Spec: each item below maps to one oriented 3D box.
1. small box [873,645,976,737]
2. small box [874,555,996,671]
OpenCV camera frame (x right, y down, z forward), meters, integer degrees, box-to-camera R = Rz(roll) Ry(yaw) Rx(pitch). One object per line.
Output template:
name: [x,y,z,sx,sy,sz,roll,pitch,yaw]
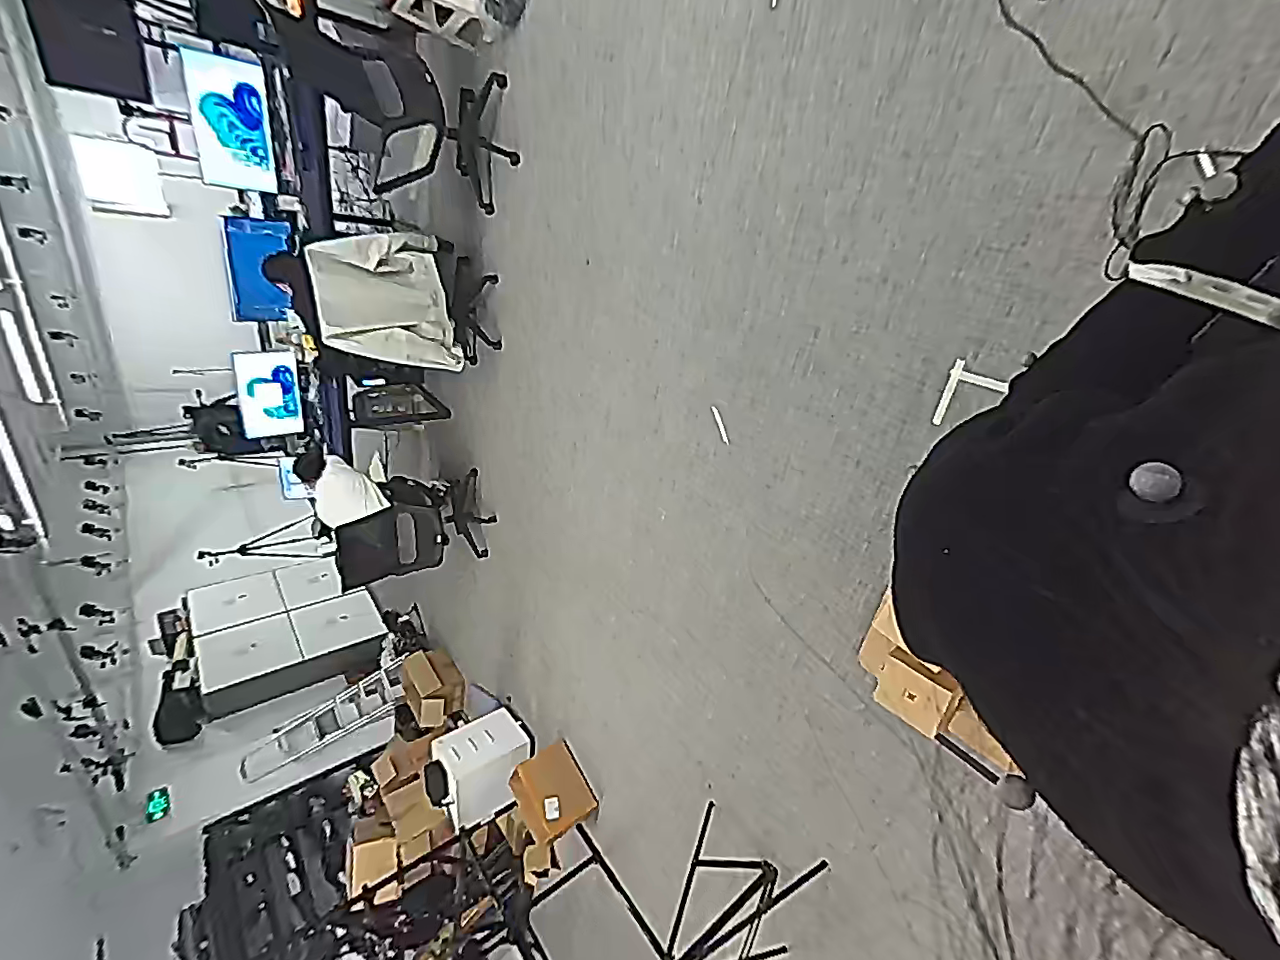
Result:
small box: [0.785,0.559,1.494,0.179,0.176,0.168,30,123,43]
small box: [0.695,0.305,1.270,0.168,0.176,0.179,38,127,37]
